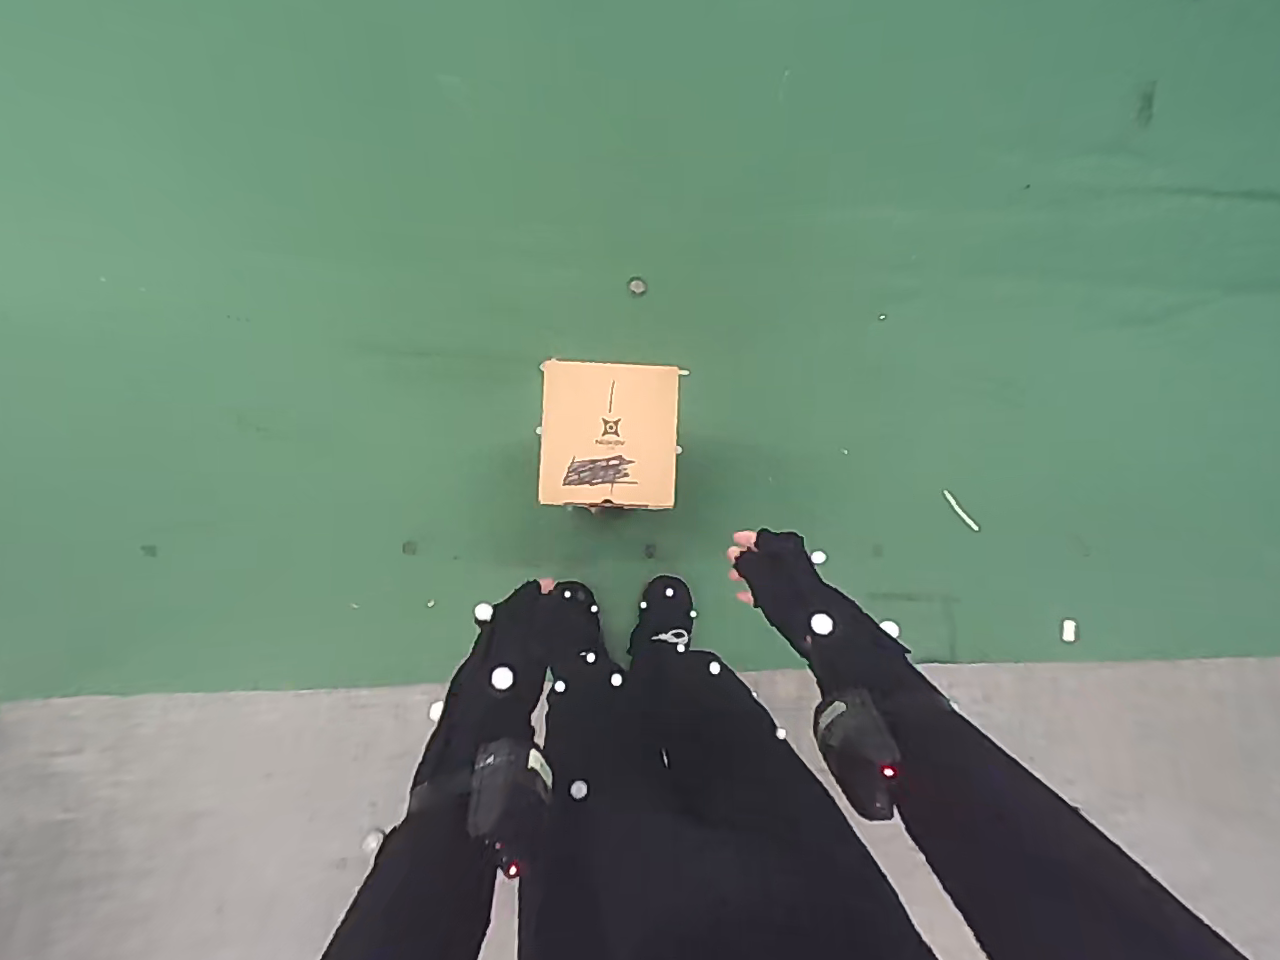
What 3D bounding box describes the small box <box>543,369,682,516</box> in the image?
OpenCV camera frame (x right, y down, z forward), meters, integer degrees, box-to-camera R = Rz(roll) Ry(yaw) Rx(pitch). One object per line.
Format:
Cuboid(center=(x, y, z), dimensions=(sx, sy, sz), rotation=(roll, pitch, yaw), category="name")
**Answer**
Cuboid(center=(-0.037, -0.044, 0.740), dimensions=(0.168, 0.176, 0.179), rotation=(2, 88, -4), category="small box")
